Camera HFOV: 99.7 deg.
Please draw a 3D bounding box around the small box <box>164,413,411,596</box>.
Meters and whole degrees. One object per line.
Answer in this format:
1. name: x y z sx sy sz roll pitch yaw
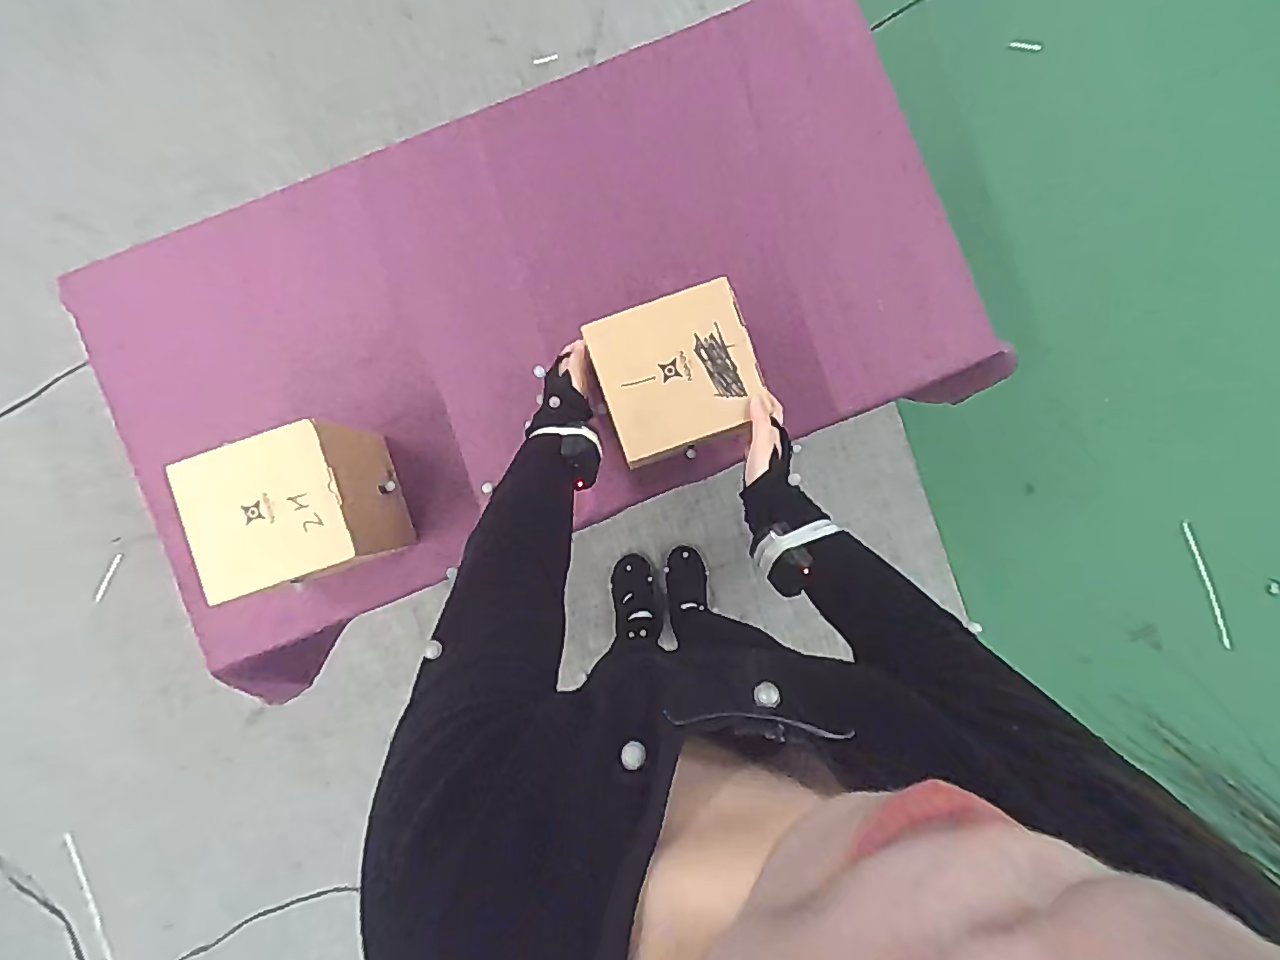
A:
1. small box: -0.422 0.030 0.677 0.179 0.176 0.168 -18 89 -1
